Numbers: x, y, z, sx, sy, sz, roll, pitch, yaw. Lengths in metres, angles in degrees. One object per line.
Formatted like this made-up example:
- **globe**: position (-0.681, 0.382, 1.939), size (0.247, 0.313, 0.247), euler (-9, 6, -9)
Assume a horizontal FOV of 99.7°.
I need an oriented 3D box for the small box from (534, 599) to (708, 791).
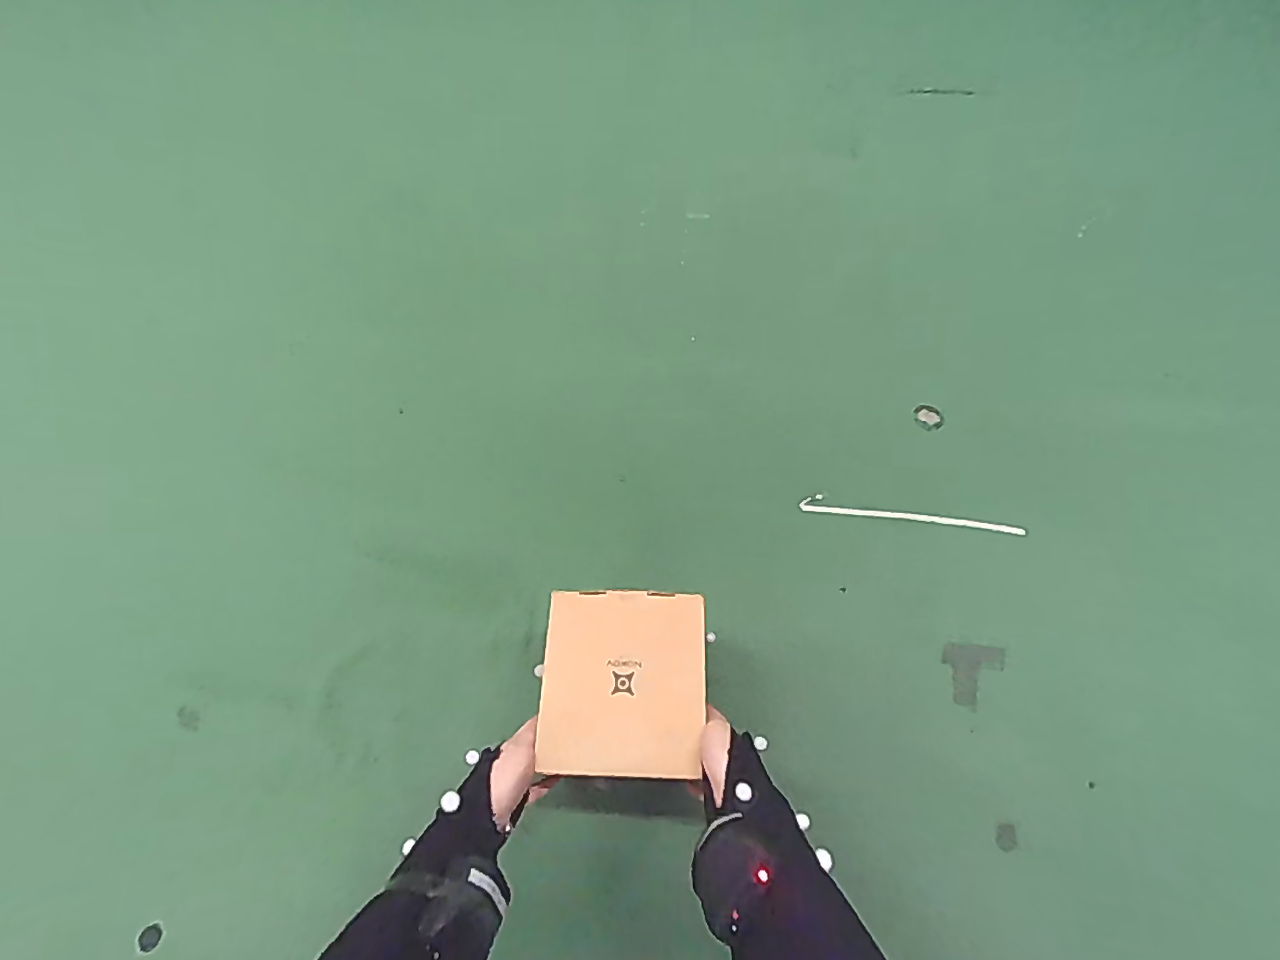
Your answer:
- **small box**: position (-0.012, 0.241, 0.604), size (0.168, 0.176, 0.179), euler (0, 62, 2)
